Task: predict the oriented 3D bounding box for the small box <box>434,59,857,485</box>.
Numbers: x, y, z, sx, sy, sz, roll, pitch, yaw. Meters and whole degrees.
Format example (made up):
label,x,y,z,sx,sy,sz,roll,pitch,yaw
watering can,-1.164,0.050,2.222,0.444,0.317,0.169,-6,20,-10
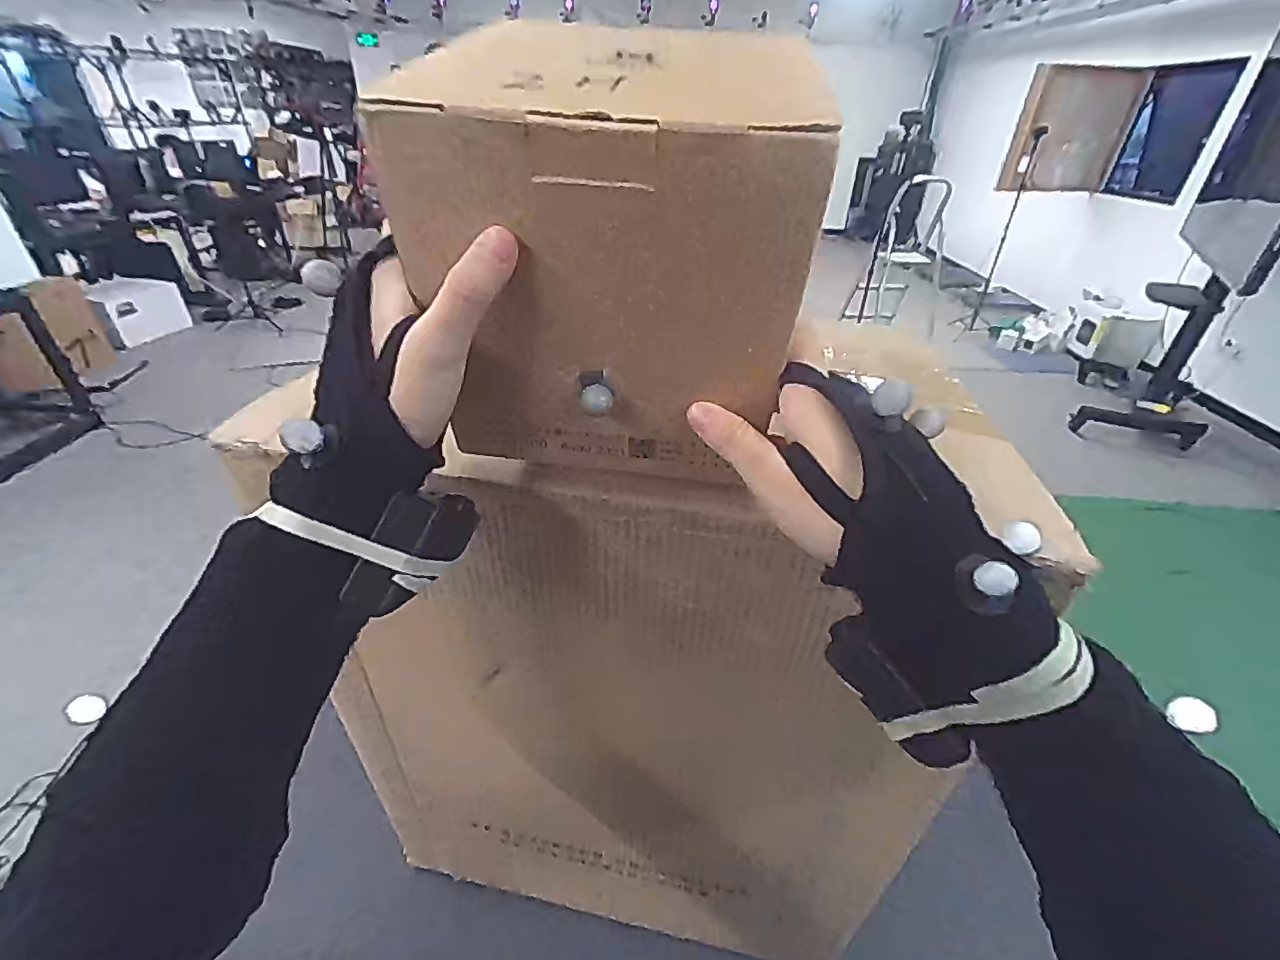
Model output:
label,x,y,z,sx,sy,sz,roll,pitch,yaw
small box,0.007,-0.123,0.317,0.168,0.176,0.179,7,45,4
